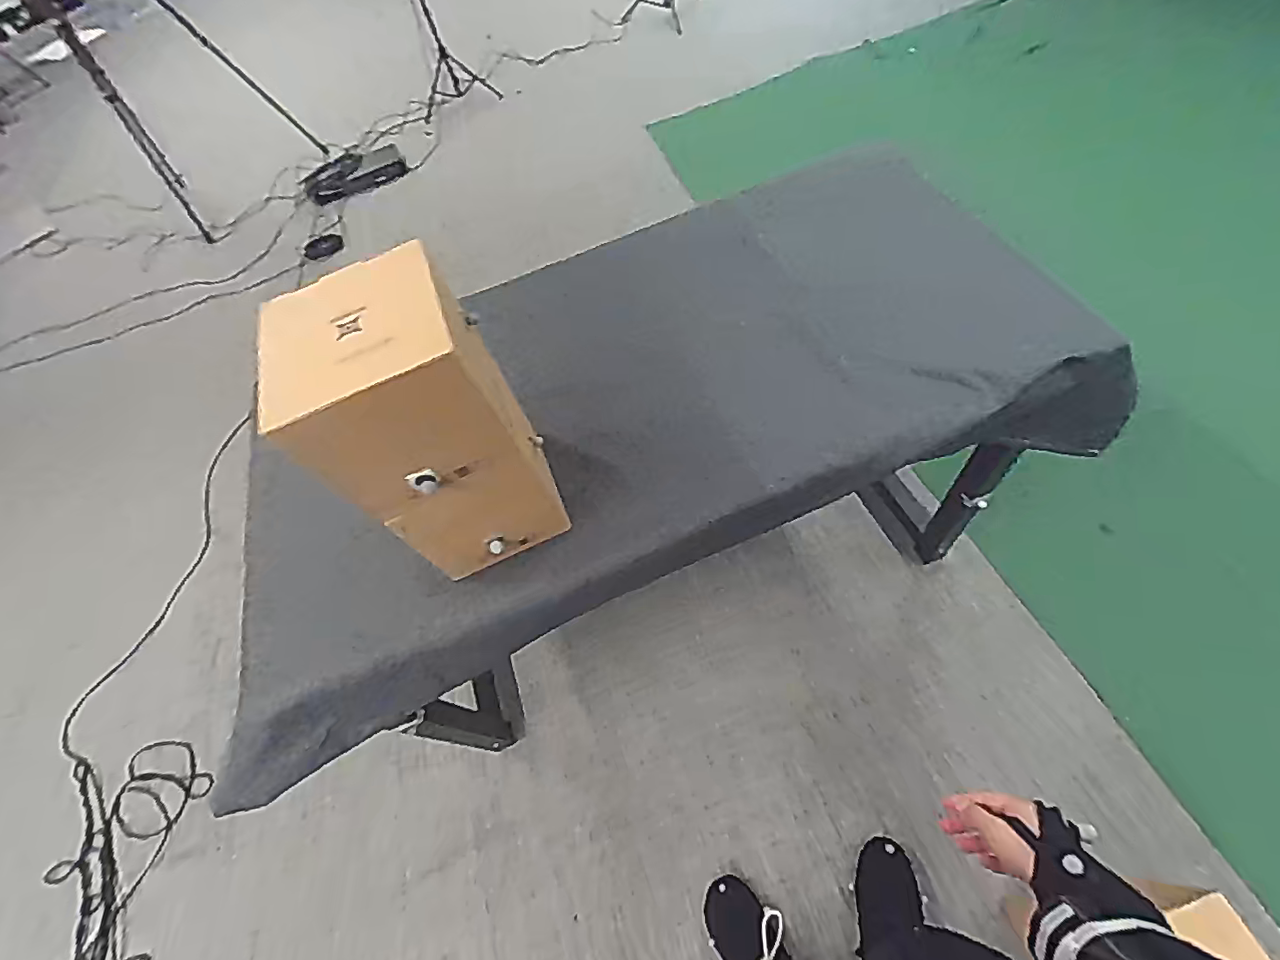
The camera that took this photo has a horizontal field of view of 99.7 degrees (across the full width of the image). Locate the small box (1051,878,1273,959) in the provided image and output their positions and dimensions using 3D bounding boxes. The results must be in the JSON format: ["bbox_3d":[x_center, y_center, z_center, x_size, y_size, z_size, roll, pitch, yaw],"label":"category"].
[{"bbox_3d":[0.725,0.674,0.737,0.179,0.176,0.168,-21,58,-1],"label":"small box"}]

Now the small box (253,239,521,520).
[{"bbox_3d":[-0.239,-0.092,0.531,0.168,0.176,0.179,-26,59,-3],"label":"small box"}]

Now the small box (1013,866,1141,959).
[{"bbox_3d":[0.749,0.756,0.876,0.179,0.176,0.168,-23,58,-1],"label":"small box"}]

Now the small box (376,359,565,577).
[{"bbox_3d":[-0.211,-0.010,0.669,0.168,0.176,0.179,-25,58,-4],"label":"small box"}]
